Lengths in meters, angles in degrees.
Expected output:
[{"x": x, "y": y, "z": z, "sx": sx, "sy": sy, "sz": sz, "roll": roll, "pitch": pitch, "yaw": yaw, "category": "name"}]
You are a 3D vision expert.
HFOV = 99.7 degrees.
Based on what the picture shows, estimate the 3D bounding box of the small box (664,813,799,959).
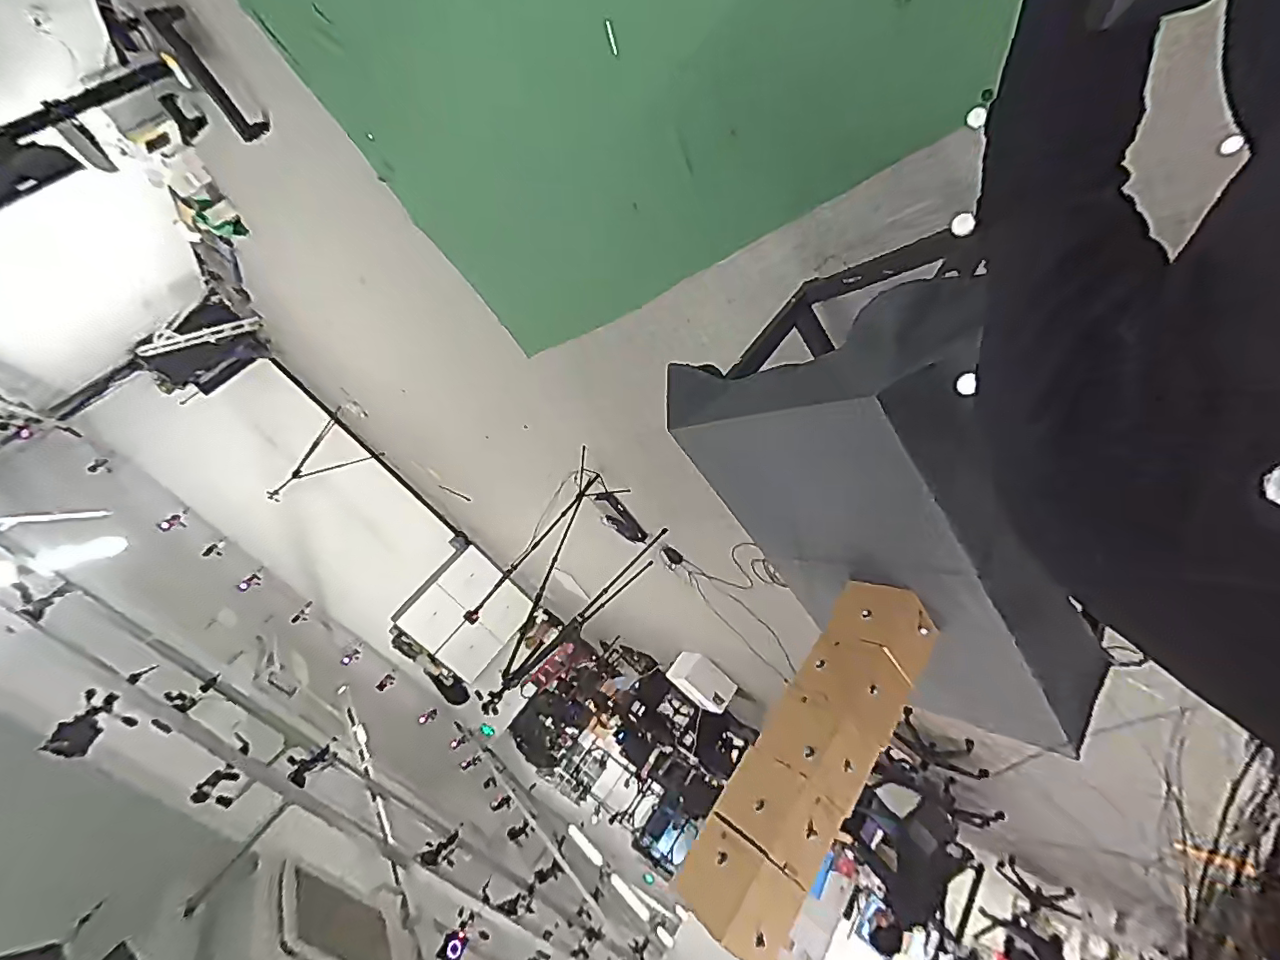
[{"x": 0.190, "y": 0.829, "z": 1.098, "sx": 0.179, "sy": 0.176, "sz": 0.168, "roll": 50, "pitch": 155, "yaw": -22, "category": "small box"}]

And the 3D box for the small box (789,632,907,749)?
[{"x": 0.494, "y": 0.488, "z": 1.281, "sx": 0.179, "sy": 0.176, "sz": 0.168, "roll": 50, "pitch": 155, "yaw": -20, "category": "small box"}]

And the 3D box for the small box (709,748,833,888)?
[{"x": 0.289, "y": 0.716, "z": 1.167, "sx": 0.168, "sy": 0.176, "sz": 0.179, "roll": 50, "pitch": 155, "yaw": -21, "category": "small box"}]

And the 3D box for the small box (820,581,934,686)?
[{"x": 0.590, "y": 0.372, "z": 1.343, "sx": 0.168, "sy": 0.176, "sz": 0.179, "roll": 51, "pitch": 153, "yaw": -22, "category": "small box"}]
